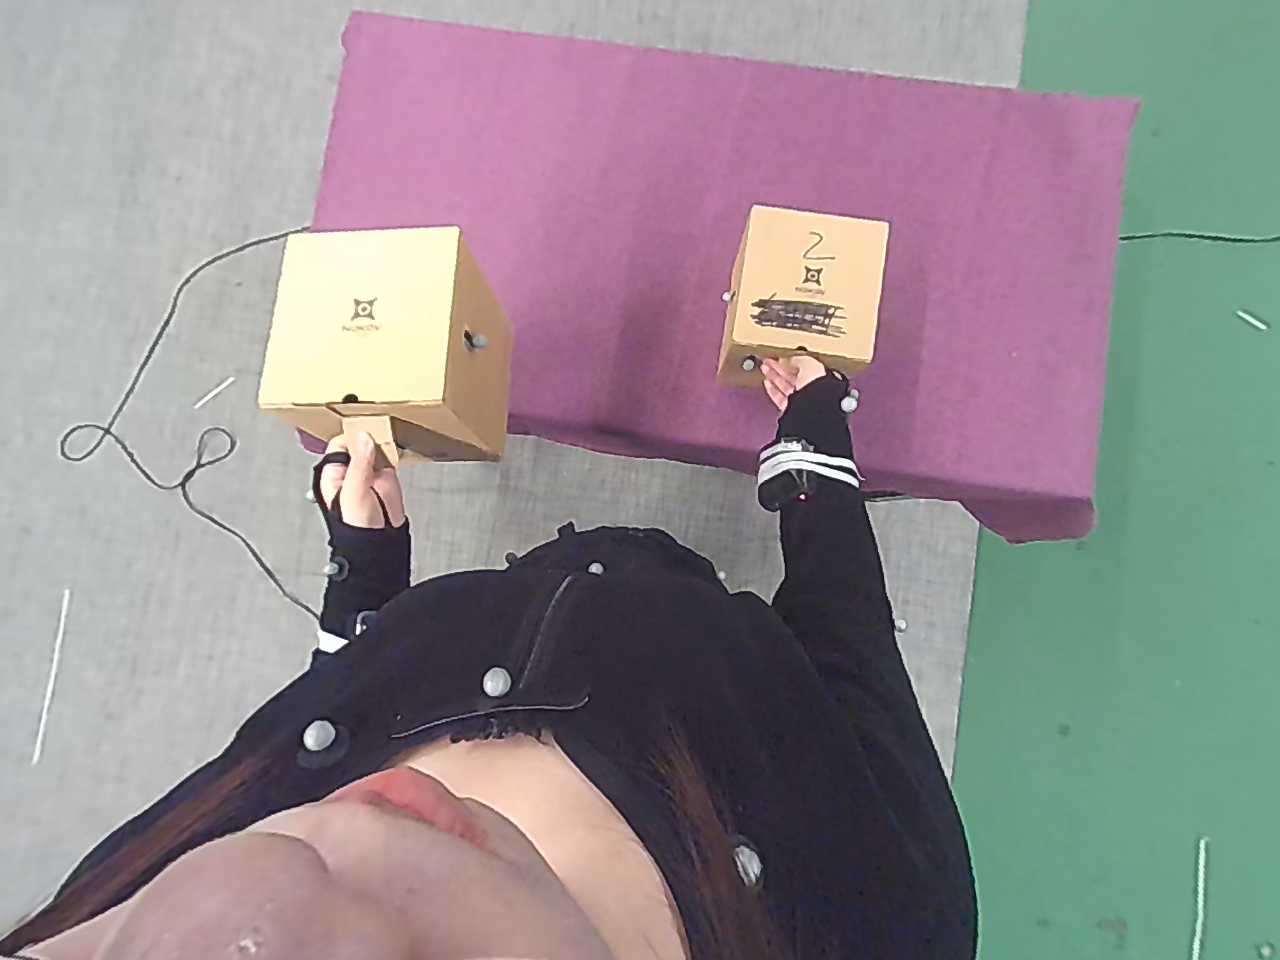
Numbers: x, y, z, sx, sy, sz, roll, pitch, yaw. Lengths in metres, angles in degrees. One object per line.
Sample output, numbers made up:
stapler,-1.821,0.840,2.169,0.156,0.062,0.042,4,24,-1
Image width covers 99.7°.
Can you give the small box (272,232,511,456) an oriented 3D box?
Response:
small box,-0.242,-0.132,0.574,0.168,0.176,0.179,-1,76,4
